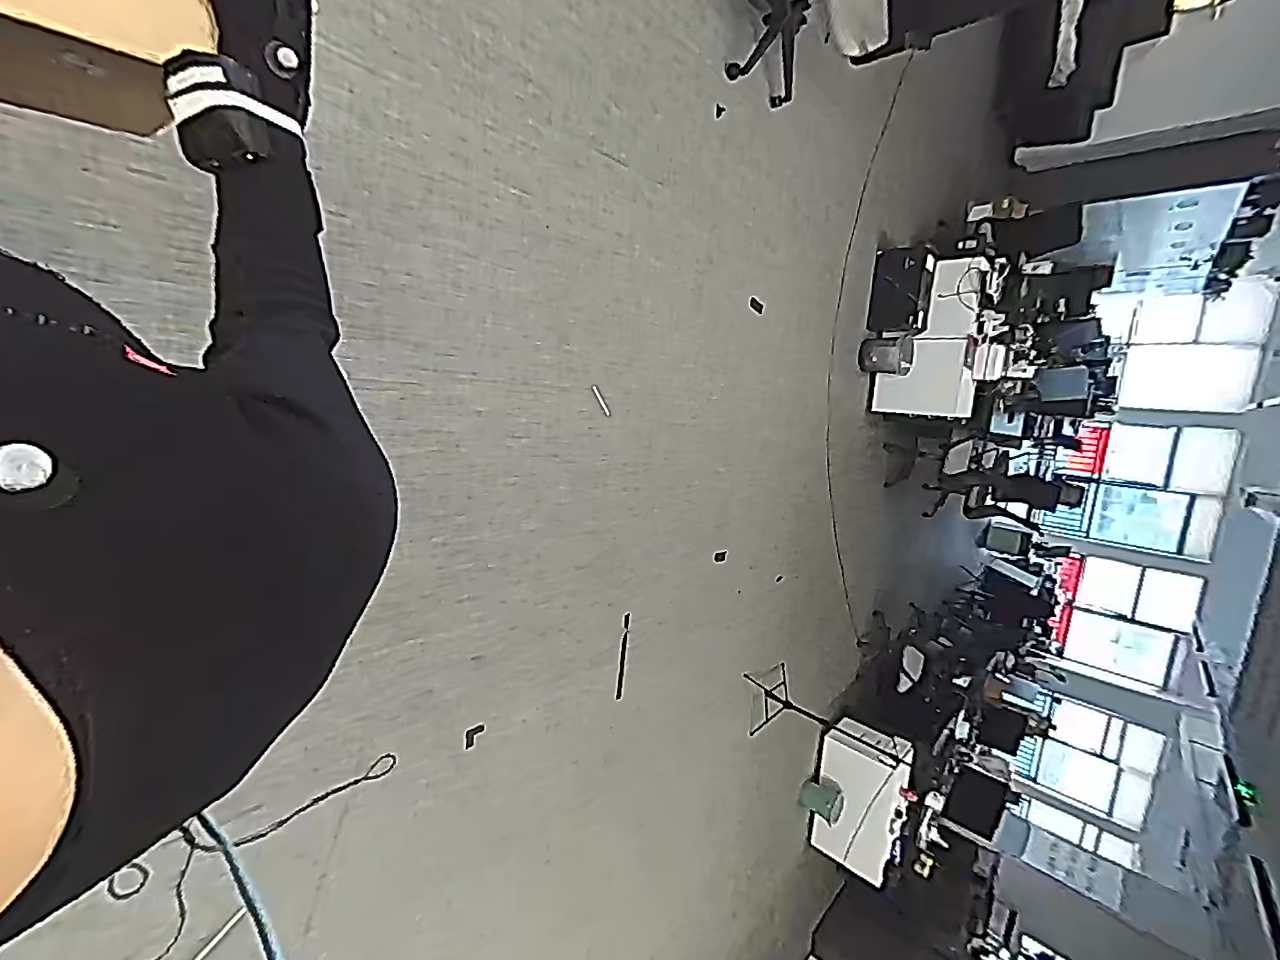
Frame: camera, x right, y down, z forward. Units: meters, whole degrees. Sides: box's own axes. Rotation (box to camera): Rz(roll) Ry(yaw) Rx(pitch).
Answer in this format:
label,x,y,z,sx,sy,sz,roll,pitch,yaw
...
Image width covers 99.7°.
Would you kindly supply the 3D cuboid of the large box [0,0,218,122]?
label,x,y,z,sx,sy,sz,roll,pitch,yaw
large box,-0.551,-0.463,0.314,0.408,0.320,0.320,-13,116,-48
